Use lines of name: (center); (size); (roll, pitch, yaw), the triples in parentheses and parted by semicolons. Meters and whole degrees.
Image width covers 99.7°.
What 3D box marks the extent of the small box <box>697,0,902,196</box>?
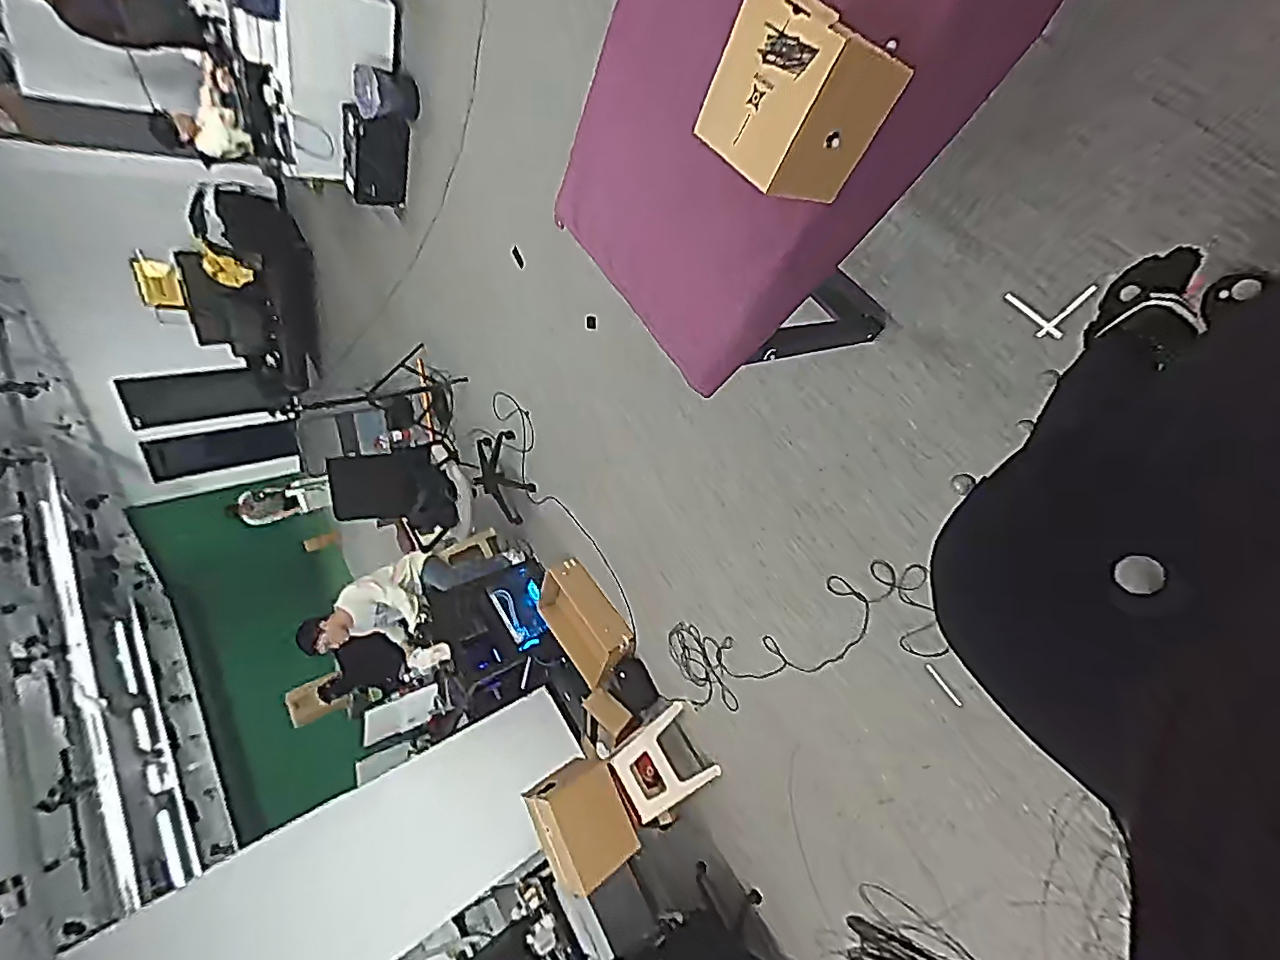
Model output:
small box: (0.215, -0.510, 0.723); (0.168, 0.176, 0.179); (54, 140, 23)
